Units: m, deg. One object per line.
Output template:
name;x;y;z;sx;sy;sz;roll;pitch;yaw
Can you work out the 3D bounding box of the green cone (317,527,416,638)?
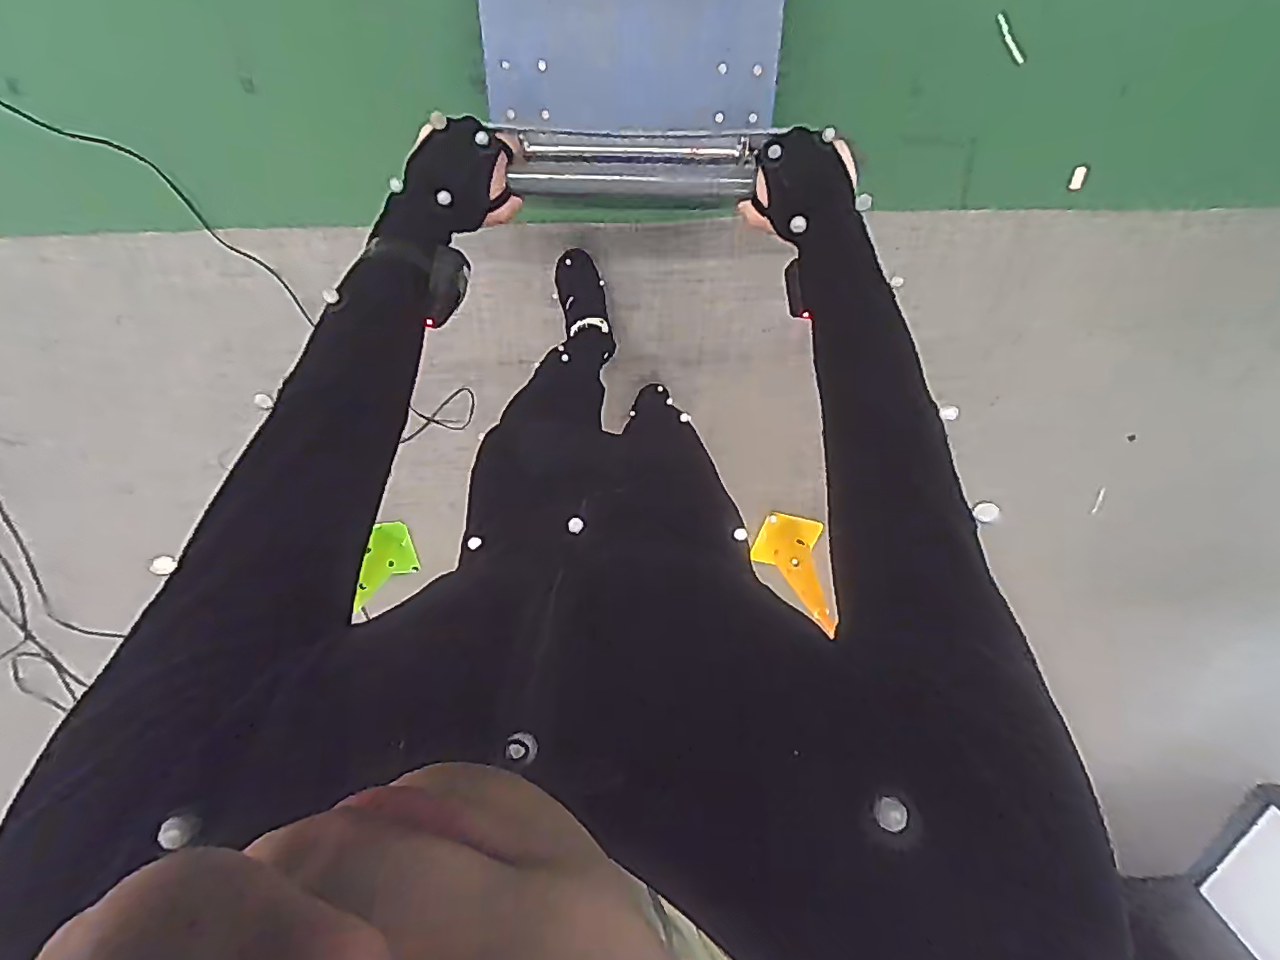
green cone;-0.843;0.322;1.604;0.202;0.368;0.200;-5;118;2
